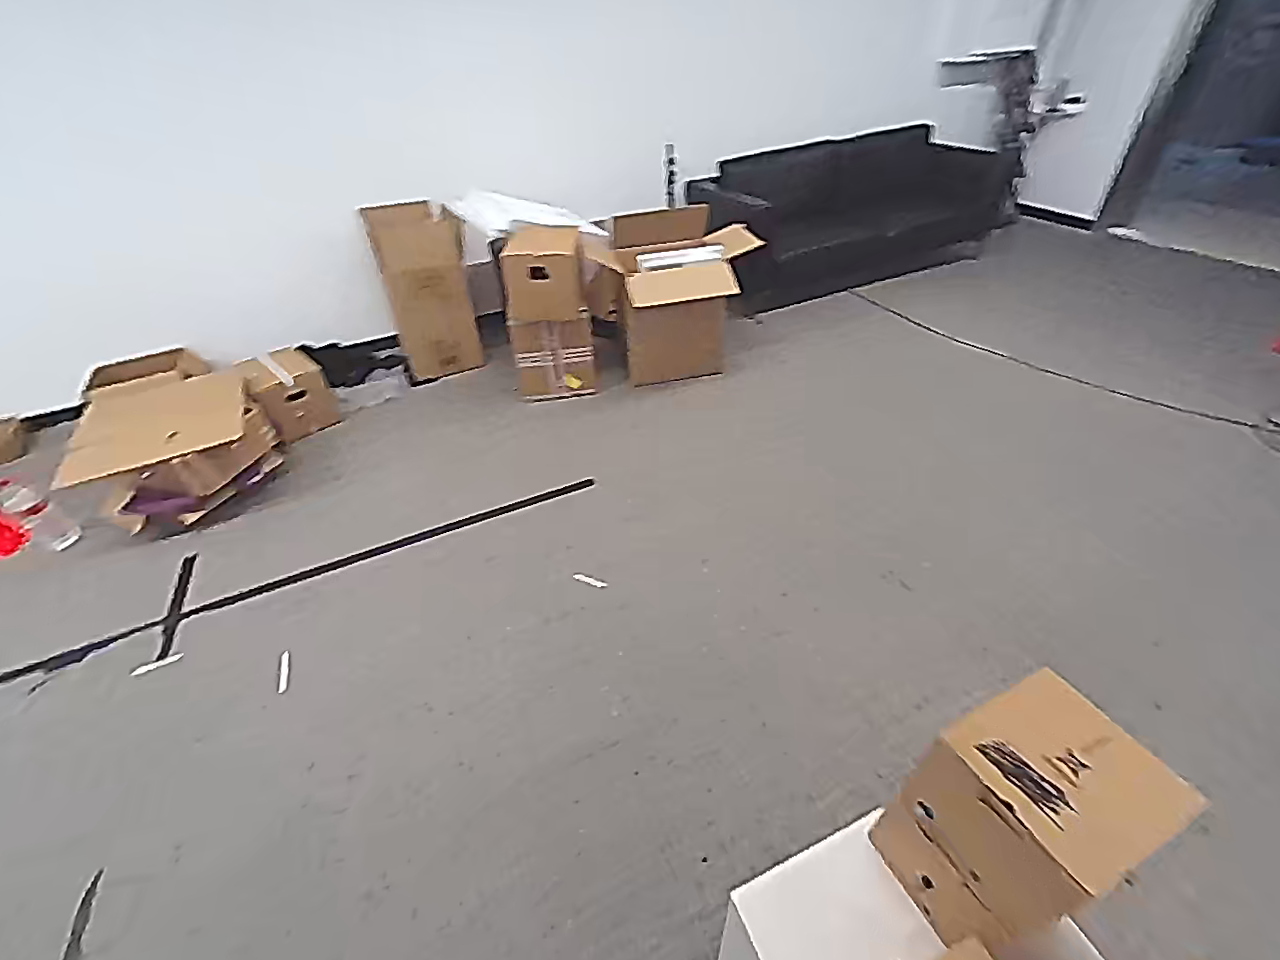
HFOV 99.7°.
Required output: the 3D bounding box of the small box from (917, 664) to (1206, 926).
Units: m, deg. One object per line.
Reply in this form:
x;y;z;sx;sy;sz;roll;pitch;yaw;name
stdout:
0.440;0.348;0.601;0.179;0.176;0.168;-20;43;-17;small box
